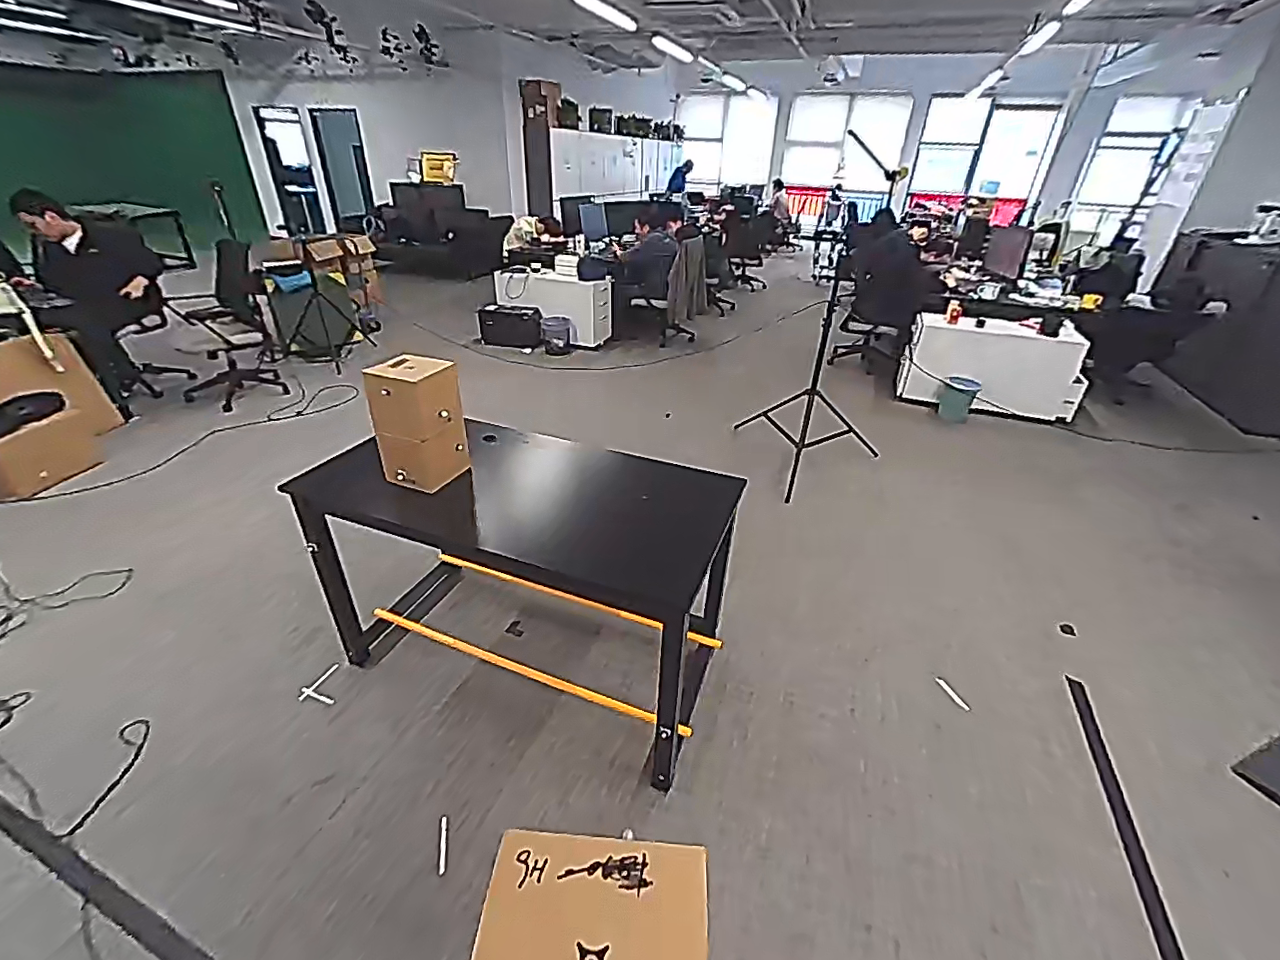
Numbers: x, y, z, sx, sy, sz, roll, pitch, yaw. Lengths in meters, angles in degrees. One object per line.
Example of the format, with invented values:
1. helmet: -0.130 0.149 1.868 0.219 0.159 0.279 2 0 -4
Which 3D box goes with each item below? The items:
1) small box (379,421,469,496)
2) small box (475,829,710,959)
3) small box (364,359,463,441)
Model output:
1. small box: -0.615 -0.078 1.563 0.168 0.176 0.179 12 33 18
2. small box: -0.033 0.402 0.415 0.168 0.176 0.179 3 38 3
3. small box: -0.611 -0.219 1.478 0.179 0.176 0.168 12 32 17
